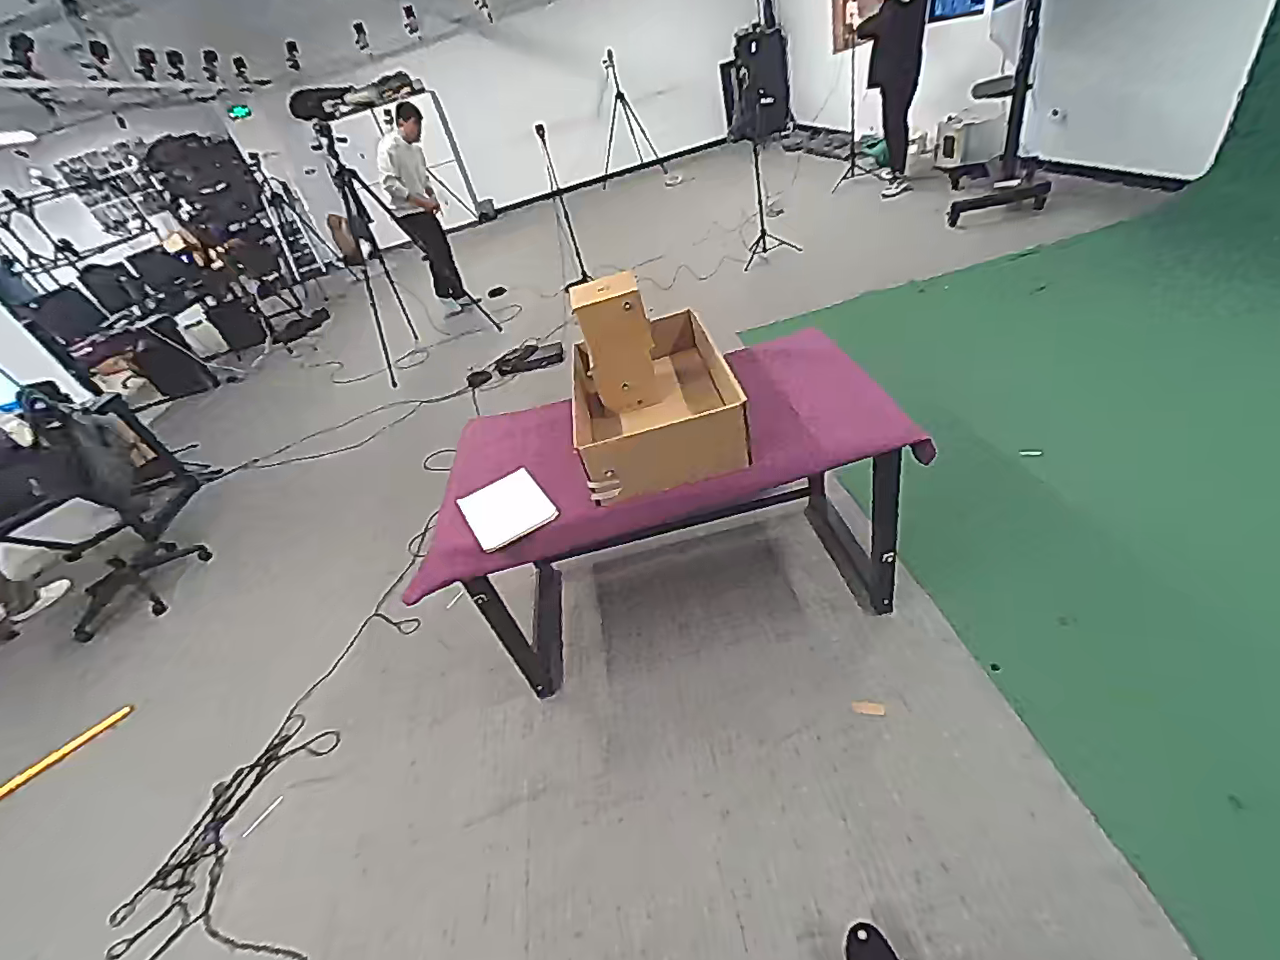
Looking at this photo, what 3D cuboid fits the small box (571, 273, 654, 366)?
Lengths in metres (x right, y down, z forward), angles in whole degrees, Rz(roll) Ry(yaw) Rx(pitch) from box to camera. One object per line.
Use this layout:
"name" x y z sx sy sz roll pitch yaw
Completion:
"small box" -0.075 -0.429 1.458 0.179 0.176 0.168 -16 38 1

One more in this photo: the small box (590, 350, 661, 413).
"small box" -0.042 -0.308 1.559 0.168 0.176 0.179 -15 38 3
